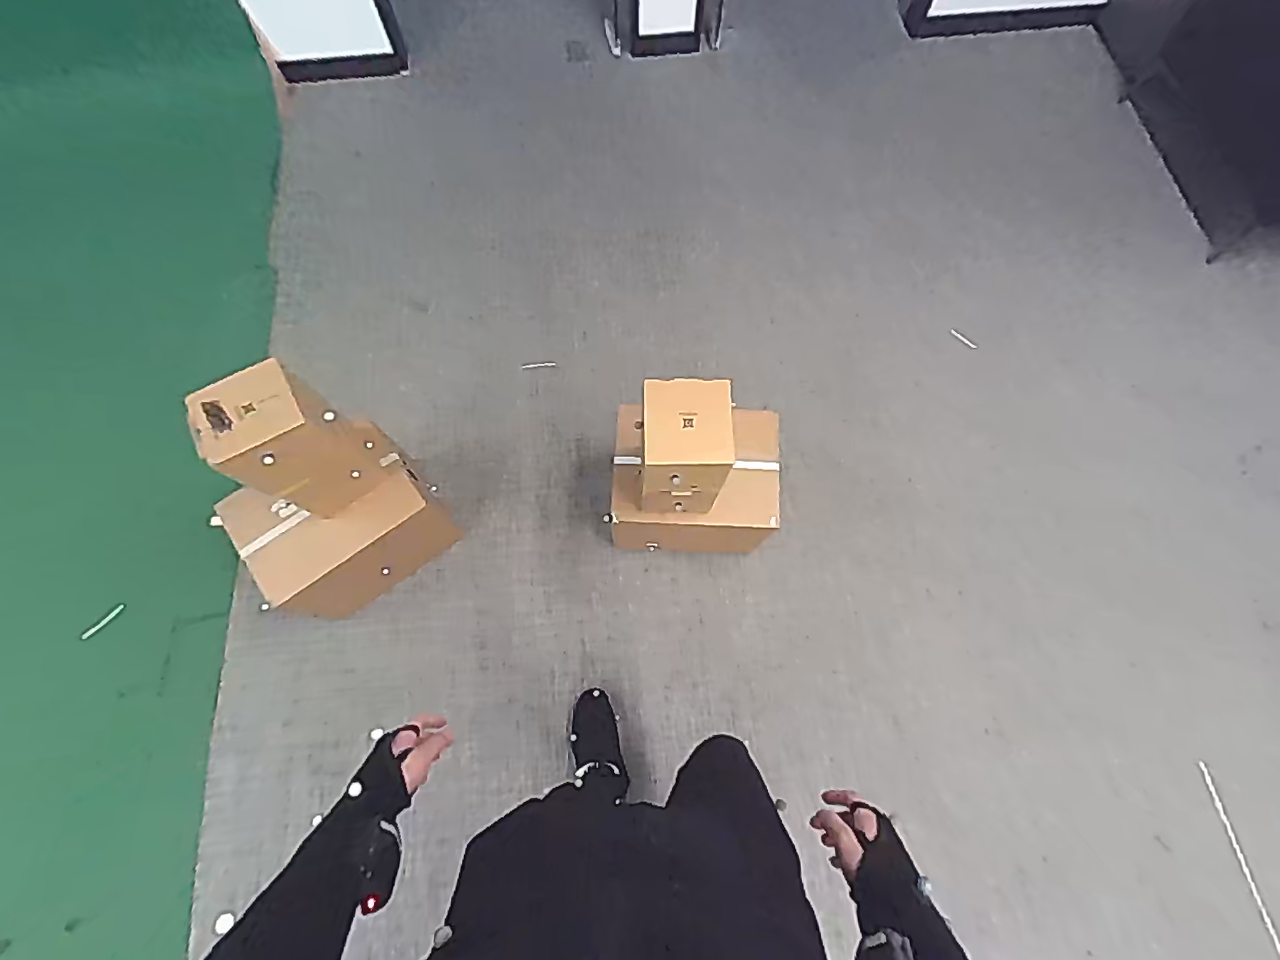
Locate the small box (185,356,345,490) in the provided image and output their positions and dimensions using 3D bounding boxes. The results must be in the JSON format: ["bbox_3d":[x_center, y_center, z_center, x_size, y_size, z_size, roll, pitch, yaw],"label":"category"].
[{"bbox_3d":[-0.725,-0.103,1.062,0.179,0.176,0.168,-30,74,-11],"label":"small box"}]

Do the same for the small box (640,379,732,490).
[{"bbox_3d":[0.085,-0.083,1.072,0.168,0.176,0.179,0,70,-1],"label":"small box"}]

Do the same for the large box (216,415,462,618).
[{"bbox_3d":[-0.757,0.109,1.421,0.408,0.320,0.320,-37,74,-11],"label":"large box"}]

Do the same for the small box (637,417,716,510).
[{"bbox_3d":[0.079,-0.032,1.226,0.168,0.176,0.179,0,72,-1],"label":"small box"}]
